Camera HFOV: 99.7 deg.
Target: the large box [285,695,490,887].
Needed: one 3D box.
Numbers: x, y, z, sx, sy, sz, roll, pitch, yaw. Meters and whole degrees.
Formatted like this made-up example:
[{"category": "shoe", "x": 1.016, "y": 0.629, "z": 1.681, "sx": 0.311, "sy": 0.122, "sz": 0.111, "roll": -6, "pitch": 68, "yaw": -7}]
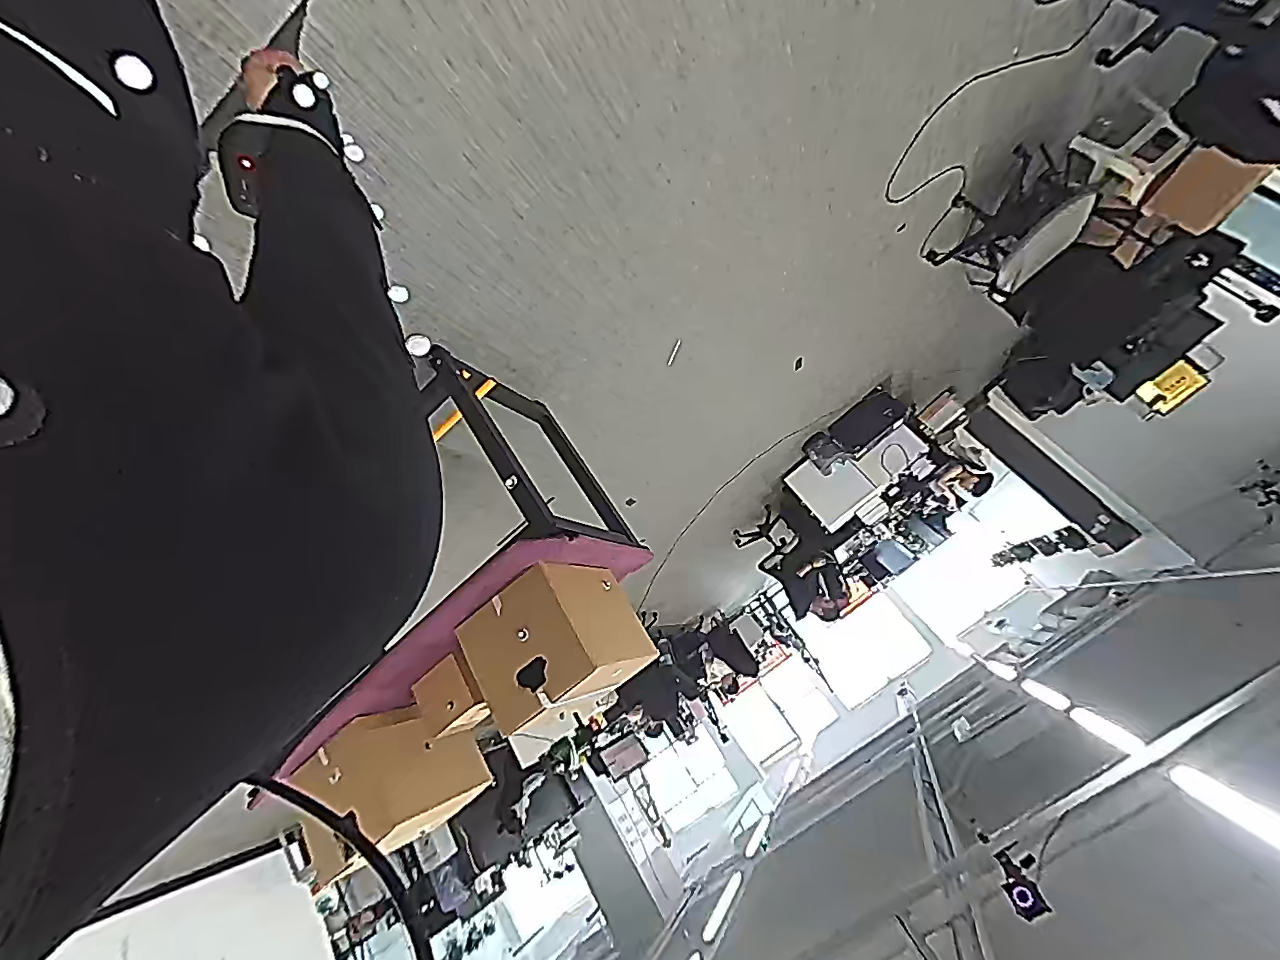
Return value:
[{"category": "large box", "x": -0.746, "y": 0.897, "z": 1.624, "sx": 0.320, "sy": 0.320, "sz": 0.408, "roll": -41, "pitch": 157, "yaw": 10}]
